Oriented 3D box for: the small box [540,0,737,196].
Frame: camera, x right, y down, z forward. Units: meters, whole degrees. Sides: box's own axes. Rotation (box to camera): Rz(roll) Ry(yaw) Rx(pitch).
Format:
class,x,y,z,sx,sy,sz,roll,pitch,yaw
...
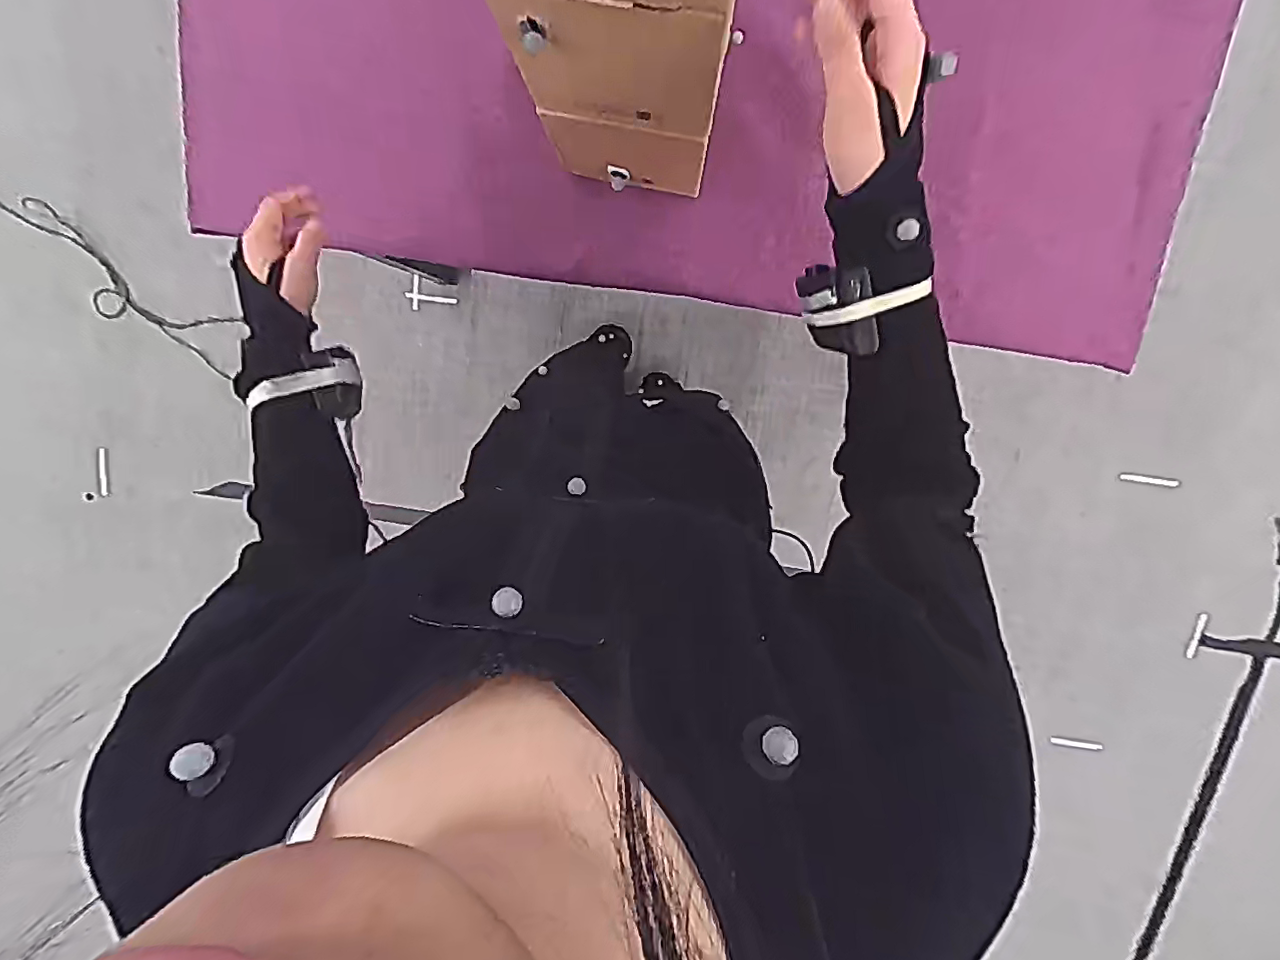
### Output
class,x,y,z,sx,sy,sz,roll,pitch,yaw
small box,0.003,-0.430,0.570,0.168,0.176,0.179,10,102,1
